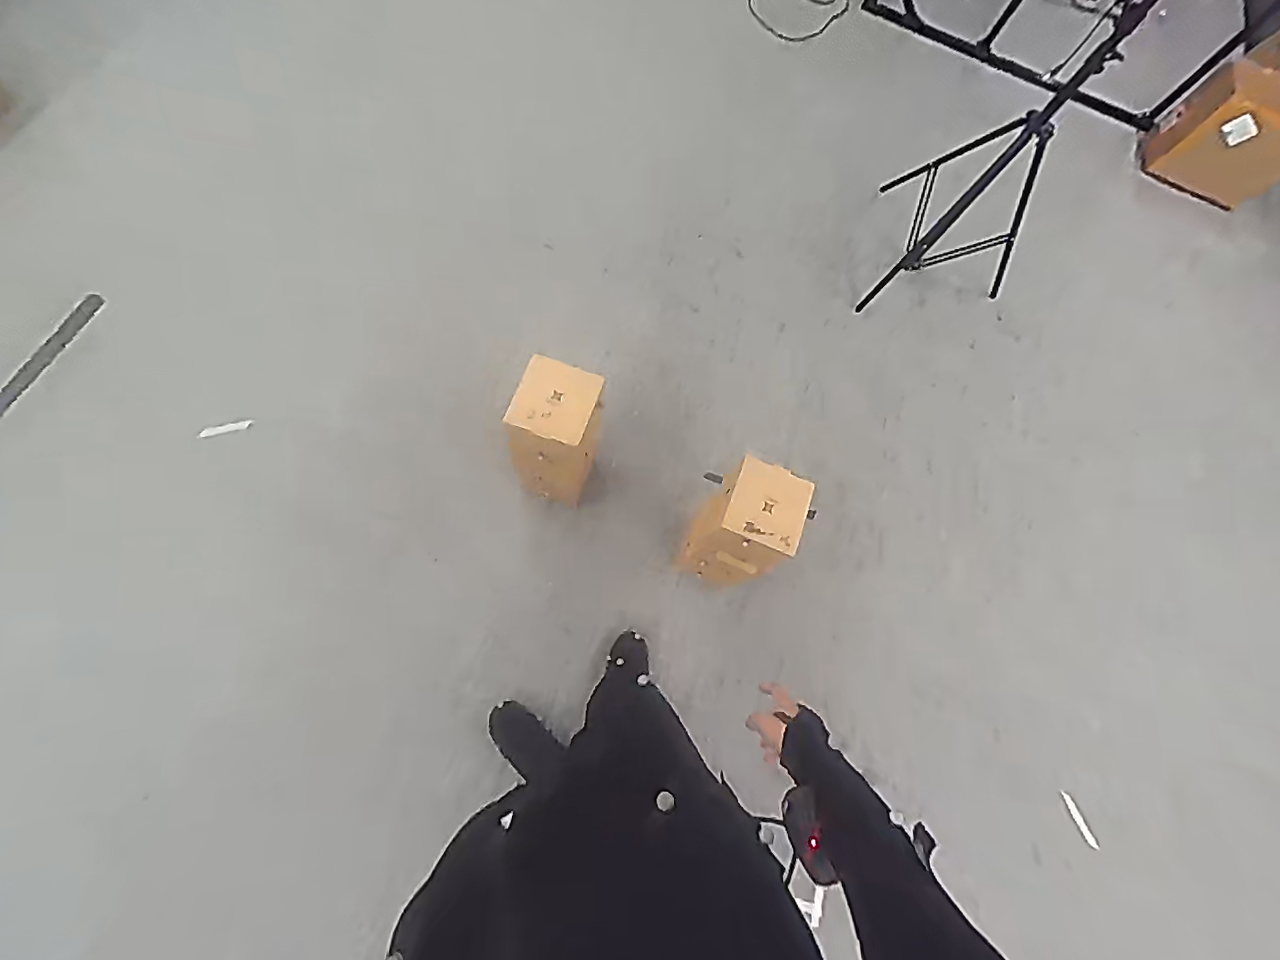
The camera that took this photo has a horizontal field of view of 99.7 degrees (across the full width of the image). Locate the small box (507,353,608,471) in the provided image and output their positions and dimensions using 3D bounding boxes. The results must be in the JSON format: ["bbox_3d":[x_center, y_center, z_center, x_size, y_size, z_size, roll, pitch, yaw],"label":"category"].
[{"bbox_3d":[-0.183,-0.146,1.213,0.168,0.176,0.179,20,71,0],"label":"small box"}]

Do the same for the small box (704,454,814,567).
[{"bbox_3d":[0.259,0.075,1.207,0.168,0.176,0.179,24,69,-1],"label":"small box"}]

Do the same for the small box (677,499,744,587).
[{"bbox_3d":[0.216,0.182,1.515,0.168,0.176,0.179,24,71,-1],"label":"small box"}]

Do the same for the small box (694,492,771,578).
[{"bbox_3d":[0.247,0.133,1.361,0.168,0.176,0.179,24,70,-1],"label":"small box"}]

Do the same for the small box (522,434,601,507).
[{"bbox_3d":[-0.222,-0.046,1.522,0.168,0.176,0.179,20,70,-1],"label":"small box"}]
